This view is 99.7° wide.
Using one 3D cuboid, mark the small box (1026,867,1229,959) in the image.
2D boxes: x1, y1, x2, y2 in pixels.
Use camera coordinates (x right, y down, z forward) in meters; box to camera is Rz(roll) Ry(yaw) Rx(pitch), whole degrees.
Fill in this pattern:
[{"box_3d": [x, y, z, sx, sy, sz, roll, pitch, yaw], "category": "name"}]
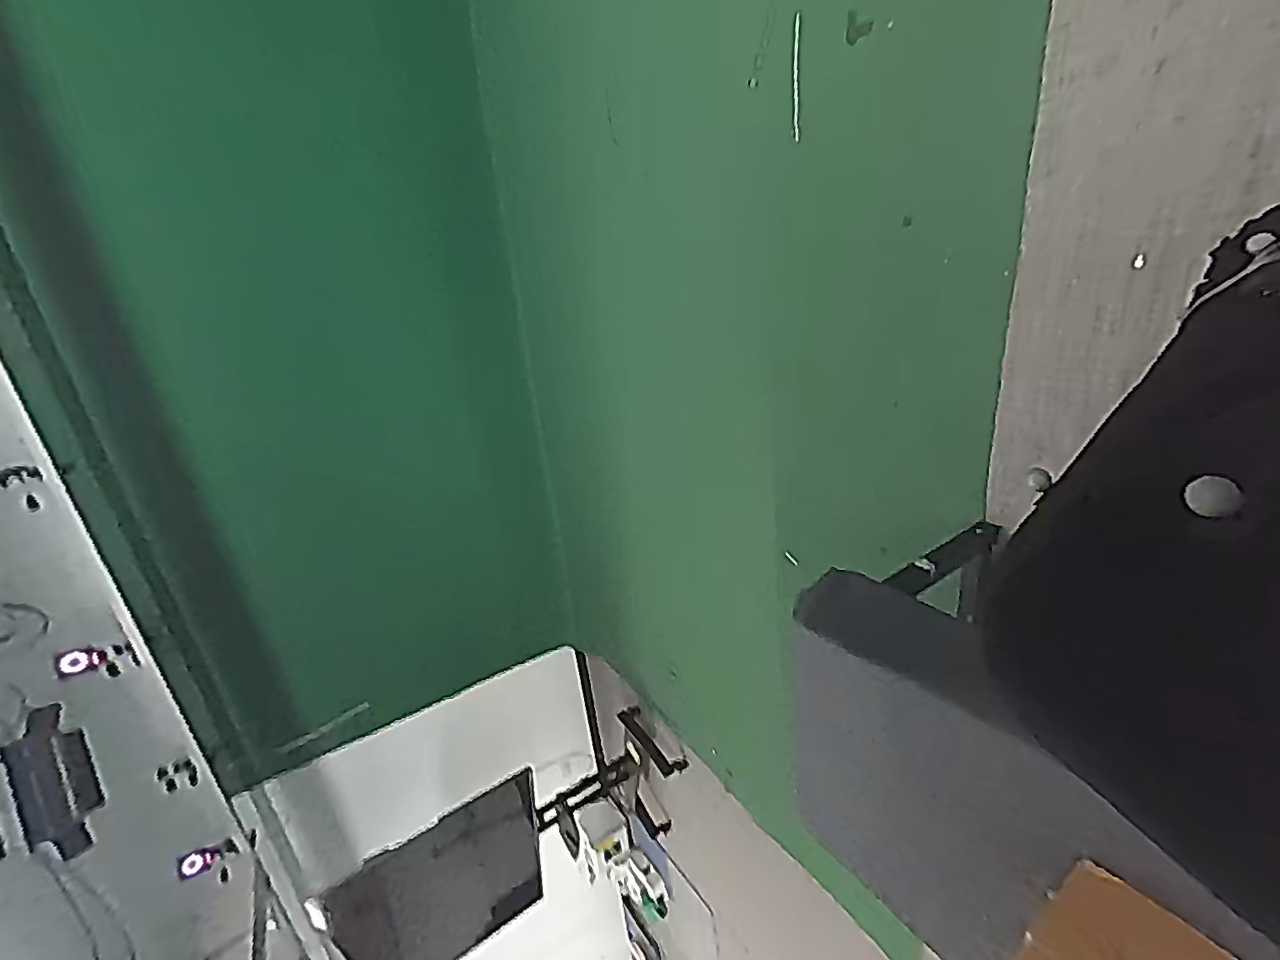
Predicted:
[{"box_3d": [0.614, 0.649, 0.680, 0.179, 0.176, 0.168, 25, 126, 55], "category": "small box"}]
